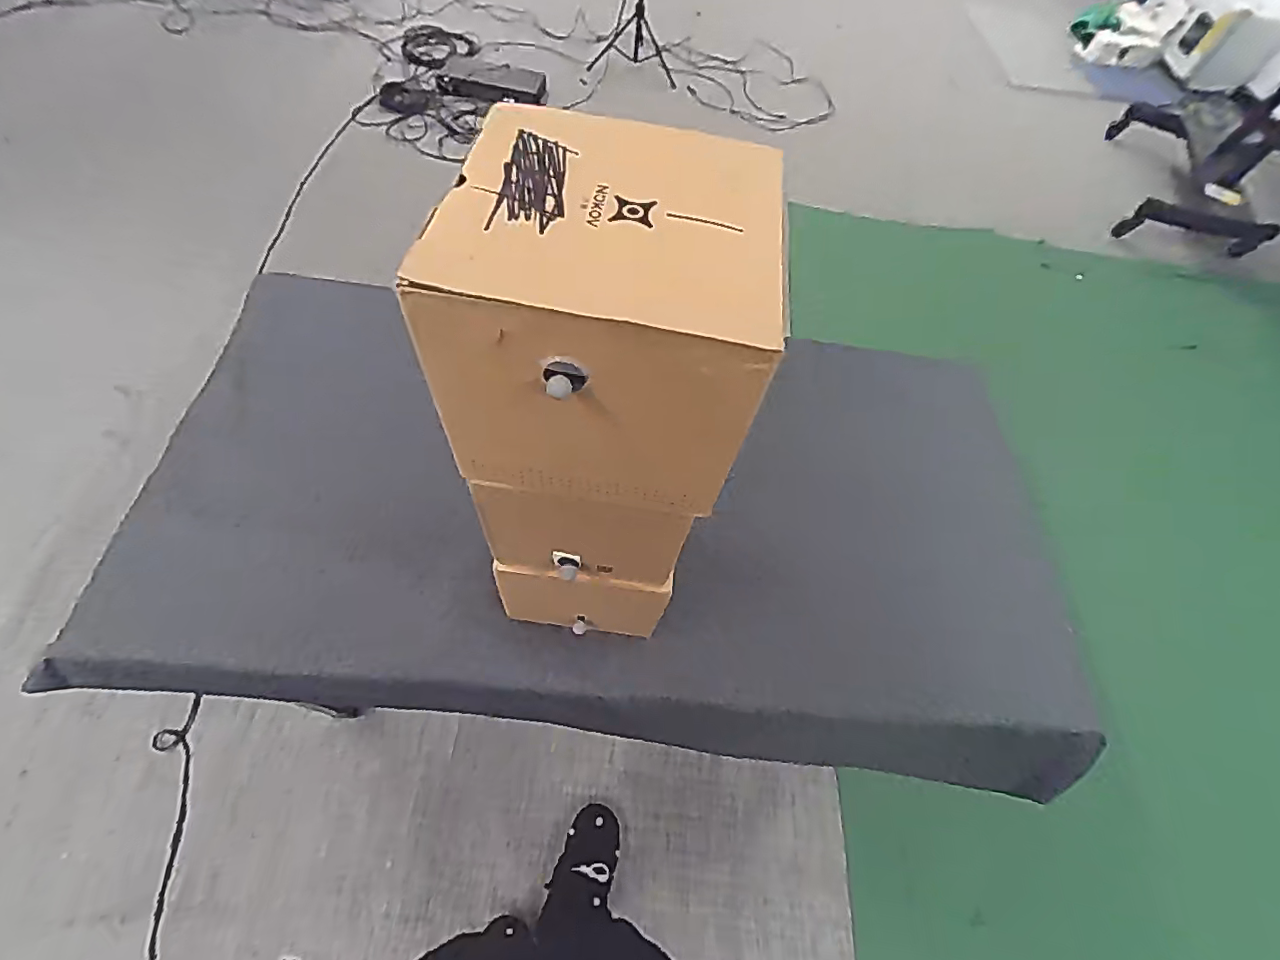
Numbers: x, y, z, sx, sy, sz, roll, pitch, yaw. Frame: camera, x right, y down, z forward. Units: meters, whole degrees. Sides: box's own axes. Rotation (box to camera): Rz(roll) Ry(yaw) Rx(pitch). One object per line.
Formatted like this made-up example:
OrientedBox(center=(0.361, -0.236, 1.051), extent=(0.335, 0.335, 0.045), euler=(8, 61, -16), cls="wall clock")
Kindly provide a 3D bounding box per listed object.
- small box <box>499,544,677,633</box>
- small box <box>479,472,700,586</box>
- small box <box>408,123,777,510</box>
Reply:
OrientedBox(center=(-0.053, 0.072, 0.636), extent=(0.179, 0.176, 0.168), euler=(8, 59, -3), cls="small box")
OrientedBox(center=(-0.037, -0.019, 0.502), extent=(0.168, 0.176, 0.179), euler=(6, 60, -2), cls="small box")
OrientedBox(center=(-0.019, -0.096, 0.358), extent=(0.179, 0.176, 0.168), euler=(9, 59, -1), cls="small box")
